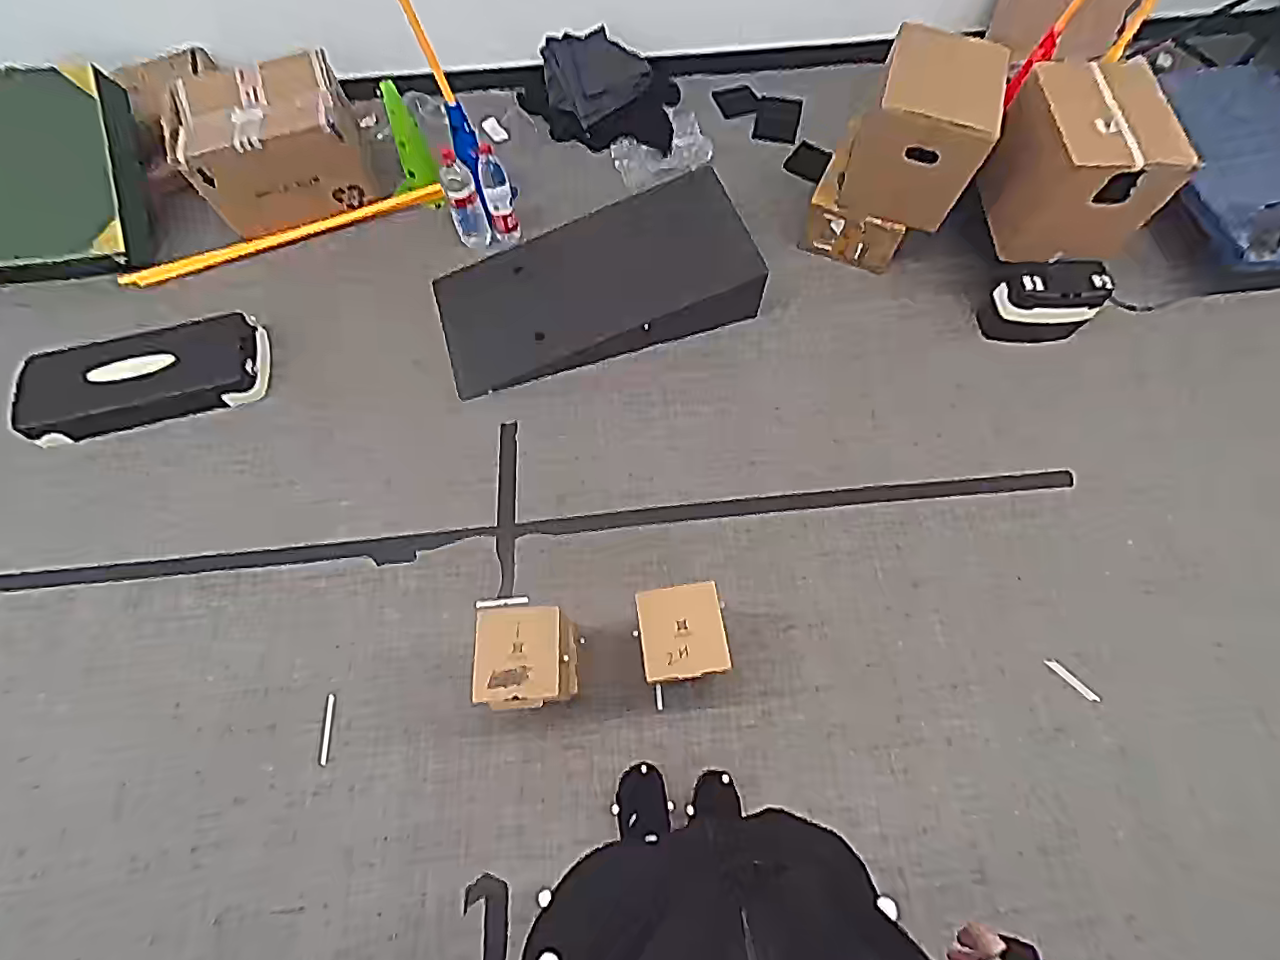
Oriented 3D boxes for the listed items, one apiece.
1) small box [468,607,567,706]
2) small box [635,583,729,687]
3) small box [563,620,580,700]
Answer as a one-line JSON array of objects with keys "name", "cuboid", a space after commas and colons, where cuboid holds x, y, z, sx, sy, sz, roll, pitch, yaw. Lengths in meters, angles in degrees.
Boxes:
[{"name": "small box", "cuboid": [-0.243, 0.368, 1.113, 0.168, 0.176, 0.179, -3, 66, -2]}, {"name": "small box", "cuboid": [0.079, 0.327, 1.127, 0.168, 0.176, 0.179, -8, 67, -2]}, {"name": "small box", "cuboid": [-0.233, 0.429, 1.265, 0.179, 0.176, 0.168, -5, 67, -2]}]
